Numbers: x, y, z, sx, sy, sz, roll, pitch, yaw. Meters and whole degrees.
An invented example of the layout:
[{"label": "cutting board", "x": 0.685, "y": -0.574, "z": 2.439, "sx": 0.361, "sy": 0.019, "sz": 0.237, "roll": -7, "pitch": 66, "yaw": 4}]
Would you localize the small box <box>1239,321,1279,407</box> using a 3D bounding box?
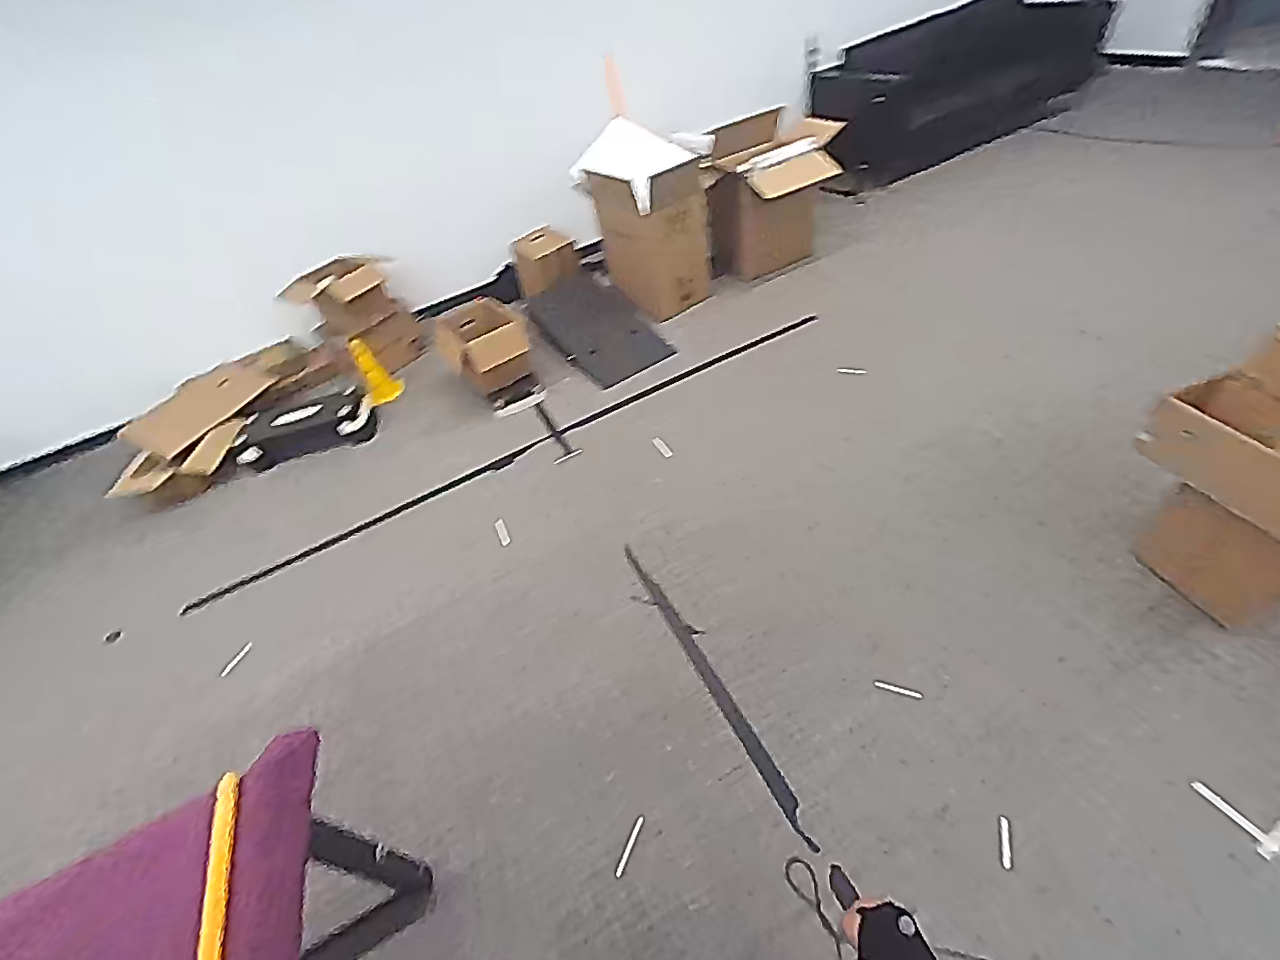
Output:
[{"label": "small box", "x": 1.589, "y": -0.276, "z": 1.269, "sx": 0.179, "sy": 0.176, "sz": 0.168, "roll": -14, "pitch": 44, "yaw": -1}]
